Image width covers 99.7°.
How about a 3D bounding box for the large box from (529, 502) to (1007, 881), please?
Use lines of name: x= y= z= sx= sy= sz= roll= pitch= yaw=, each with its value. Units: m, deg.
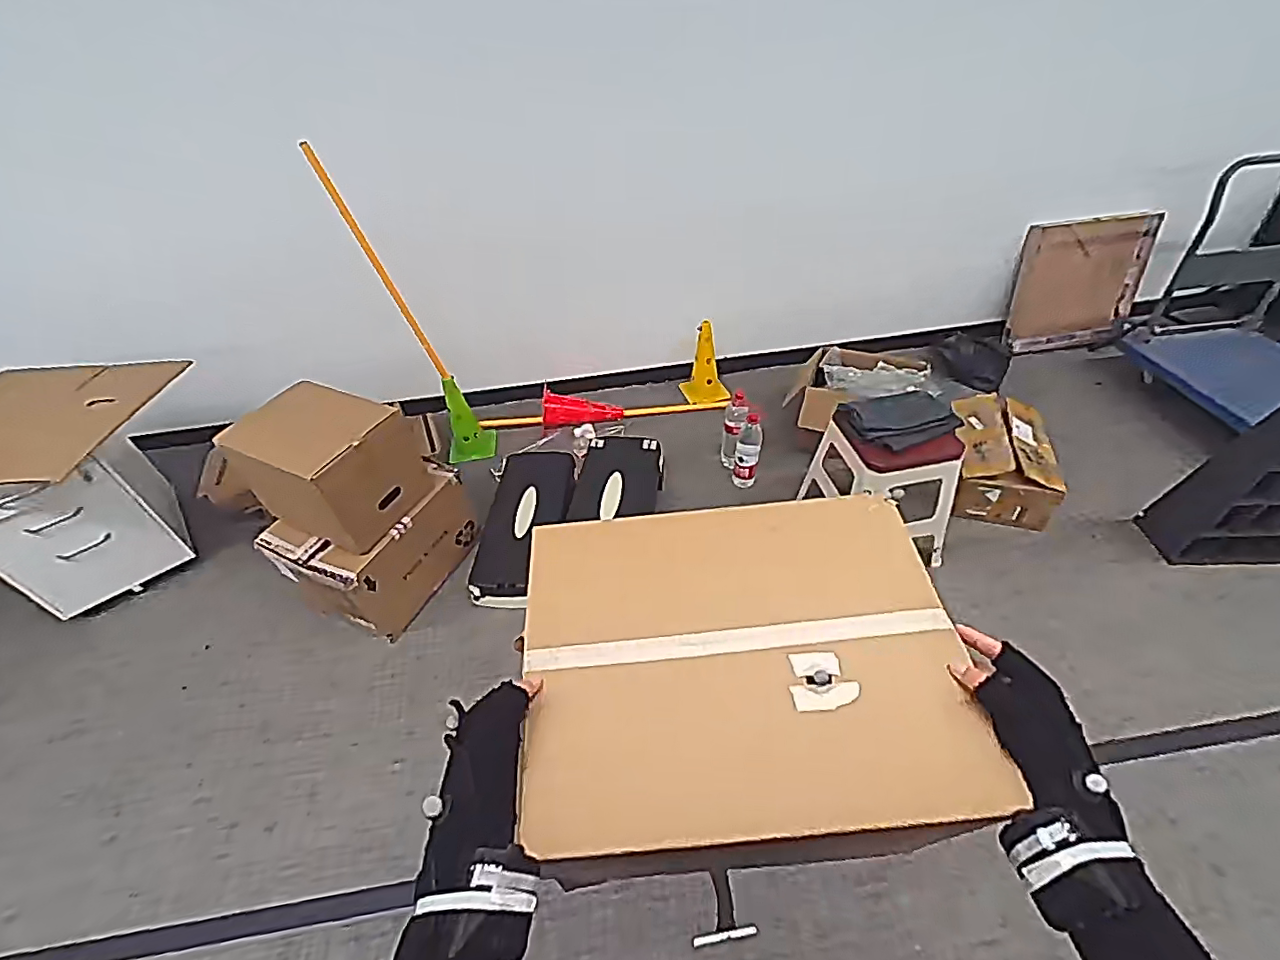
large box: x=0.100 y=0.258 z=0.646 sx=0.408 sy=0.320 sz=0.320 roll=-6 pitch=51 yaw=0
